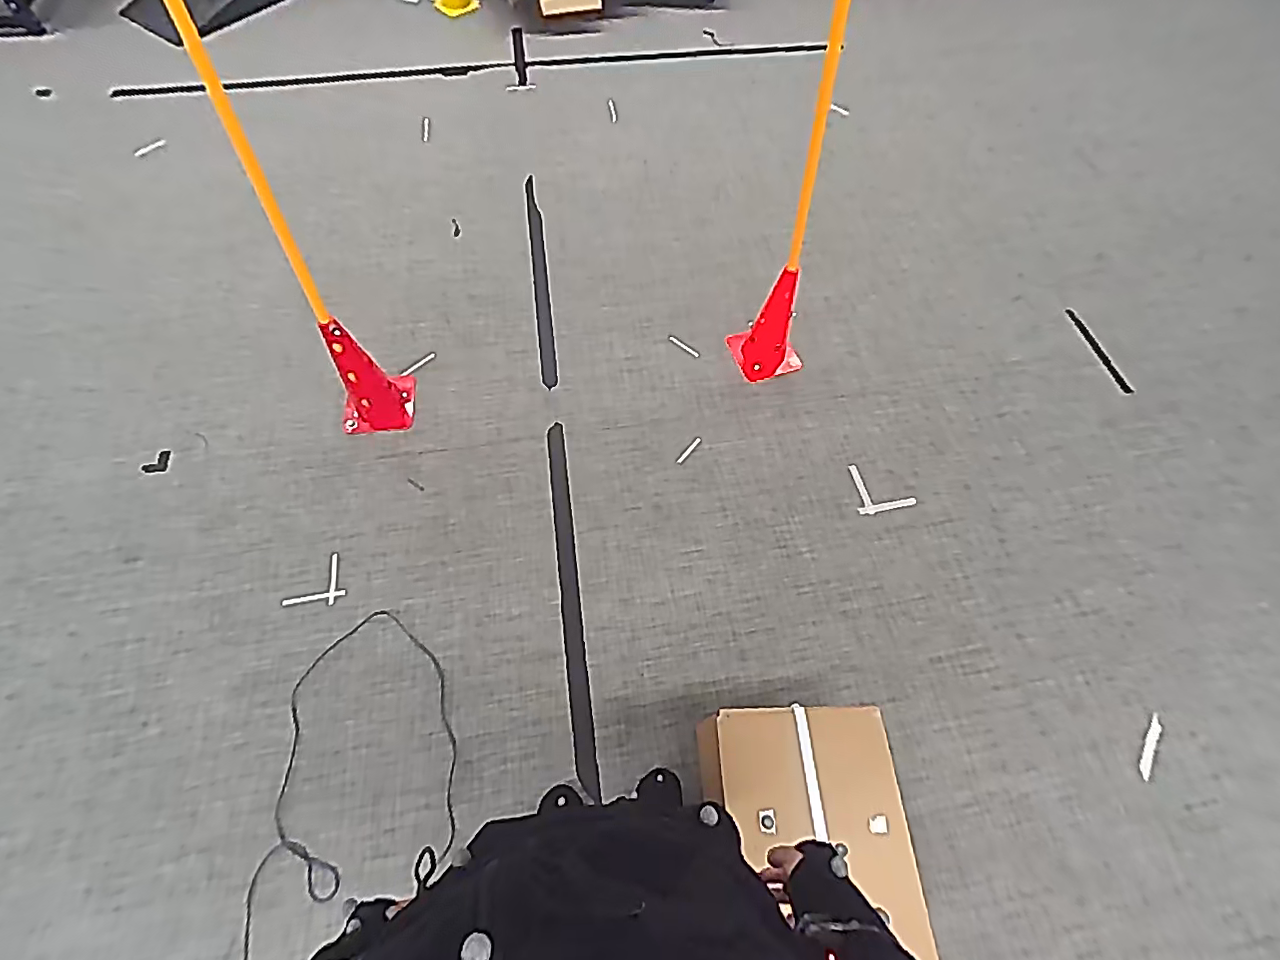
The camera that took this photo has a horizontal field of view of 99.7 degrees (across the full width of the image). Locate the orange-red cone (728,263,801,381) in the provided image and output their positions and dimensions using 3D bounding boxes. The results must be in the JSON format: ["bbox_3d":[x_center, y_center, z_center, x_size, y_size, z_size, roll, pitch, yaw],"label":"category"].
[{"bbox_3d":[0.410,-0.492,1.607,0.199,0.360,0.198,-15,65,-11],"label":"orange-red cone"}]
